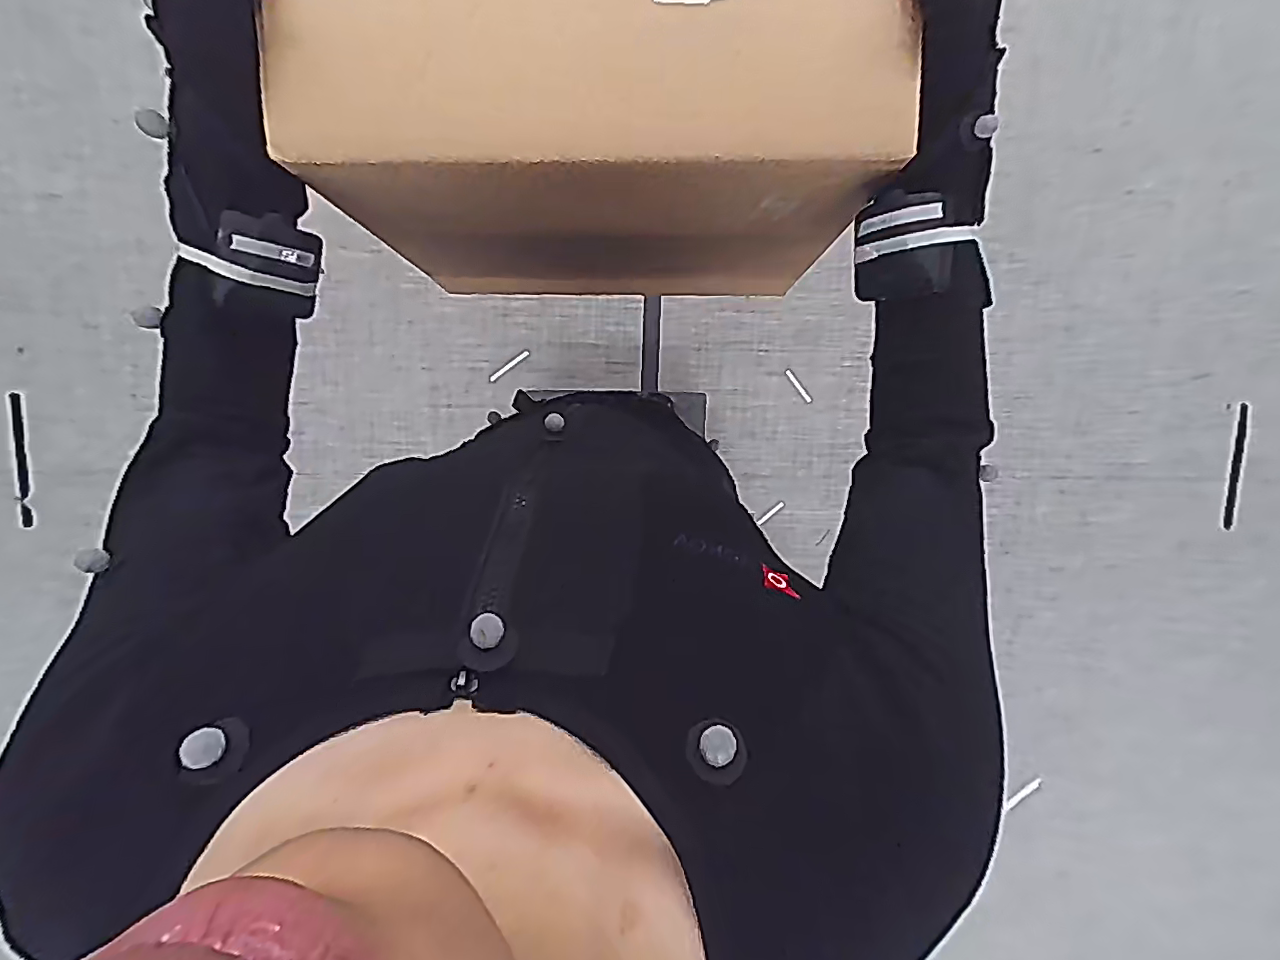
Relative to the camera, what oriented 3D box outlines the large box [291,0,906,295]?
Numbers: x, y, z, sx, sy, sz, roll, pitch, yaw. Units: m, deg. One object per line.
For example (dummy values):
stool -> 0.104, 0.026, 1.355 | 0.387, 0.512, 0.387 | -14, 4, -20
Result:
large box -> -0.028, -0.371, 0.494 | 0.408, 0.320, 0.320 | 0, 94, 1
